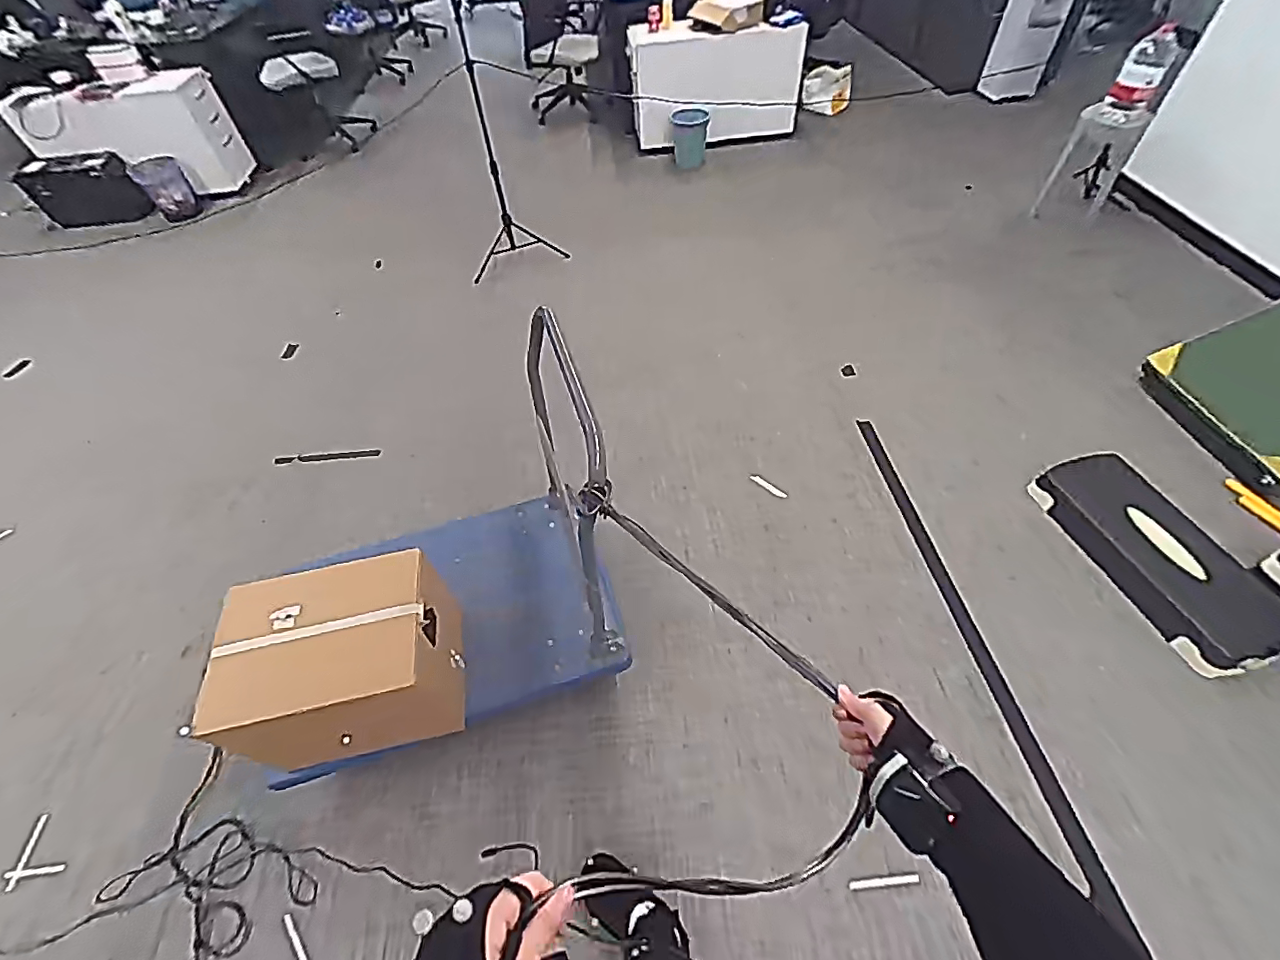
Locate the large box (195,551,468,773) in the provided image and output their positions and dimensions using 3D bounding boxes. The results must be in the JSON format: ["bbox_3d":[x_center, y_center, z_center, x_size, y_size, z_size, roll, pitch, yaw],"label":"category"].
[{"bbox_3d":[-0.630,0.405,1.193,0.408,0.320,0.320,-13,51,-5],"label":"large box"}]
